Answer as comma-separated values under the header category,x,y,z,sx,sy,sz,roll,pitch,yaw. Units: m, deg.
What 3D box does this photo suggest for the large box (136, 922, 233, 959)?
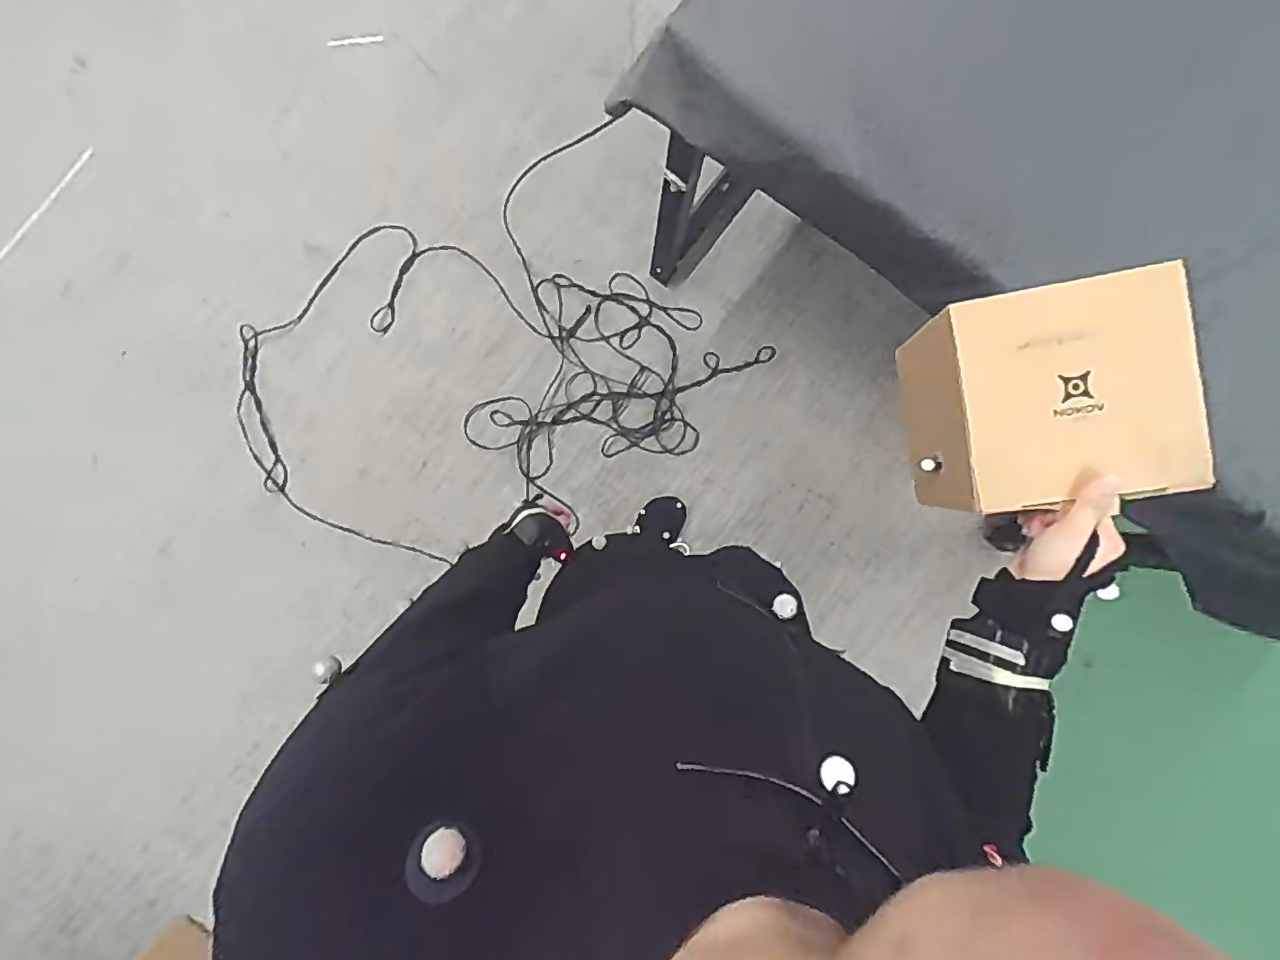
category,x,y,z,sx,sy,sz,roll,pitch,yaw
large box,-1.014,1.269,1.122,0.408,0.320,0.320,37,85,1

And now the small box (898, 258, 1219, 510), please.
category,x,y,z,sx,sy,sz,roll,pitch,yaw
small box,0.356,-0.072,0.499,0.168,0.176,0.179,-9,87,11
